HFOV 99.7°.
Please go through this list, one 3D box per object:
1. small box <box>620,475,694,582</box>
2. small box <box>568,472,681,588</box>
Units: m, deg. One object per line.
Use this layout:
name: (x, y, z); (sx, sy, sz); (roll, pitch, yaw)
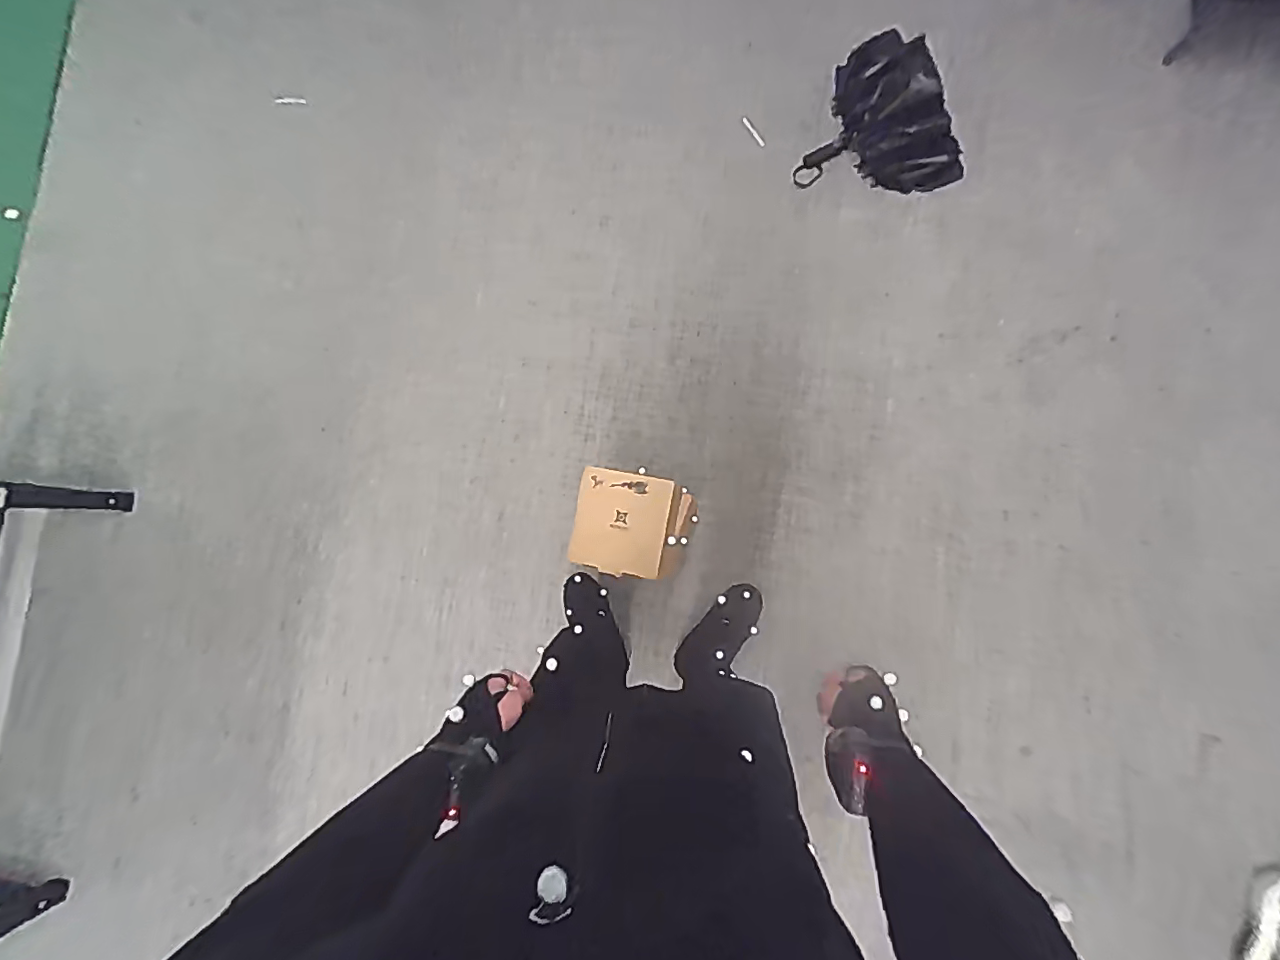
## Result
small box: (0.014, 0.105, 1.183); (0.168, 0.176, 0.179); (20, 89, 10)
small box: (-0.020, 0.092, 1.024); (0.168, 0.176, 0.179); (11, 87, 9)
